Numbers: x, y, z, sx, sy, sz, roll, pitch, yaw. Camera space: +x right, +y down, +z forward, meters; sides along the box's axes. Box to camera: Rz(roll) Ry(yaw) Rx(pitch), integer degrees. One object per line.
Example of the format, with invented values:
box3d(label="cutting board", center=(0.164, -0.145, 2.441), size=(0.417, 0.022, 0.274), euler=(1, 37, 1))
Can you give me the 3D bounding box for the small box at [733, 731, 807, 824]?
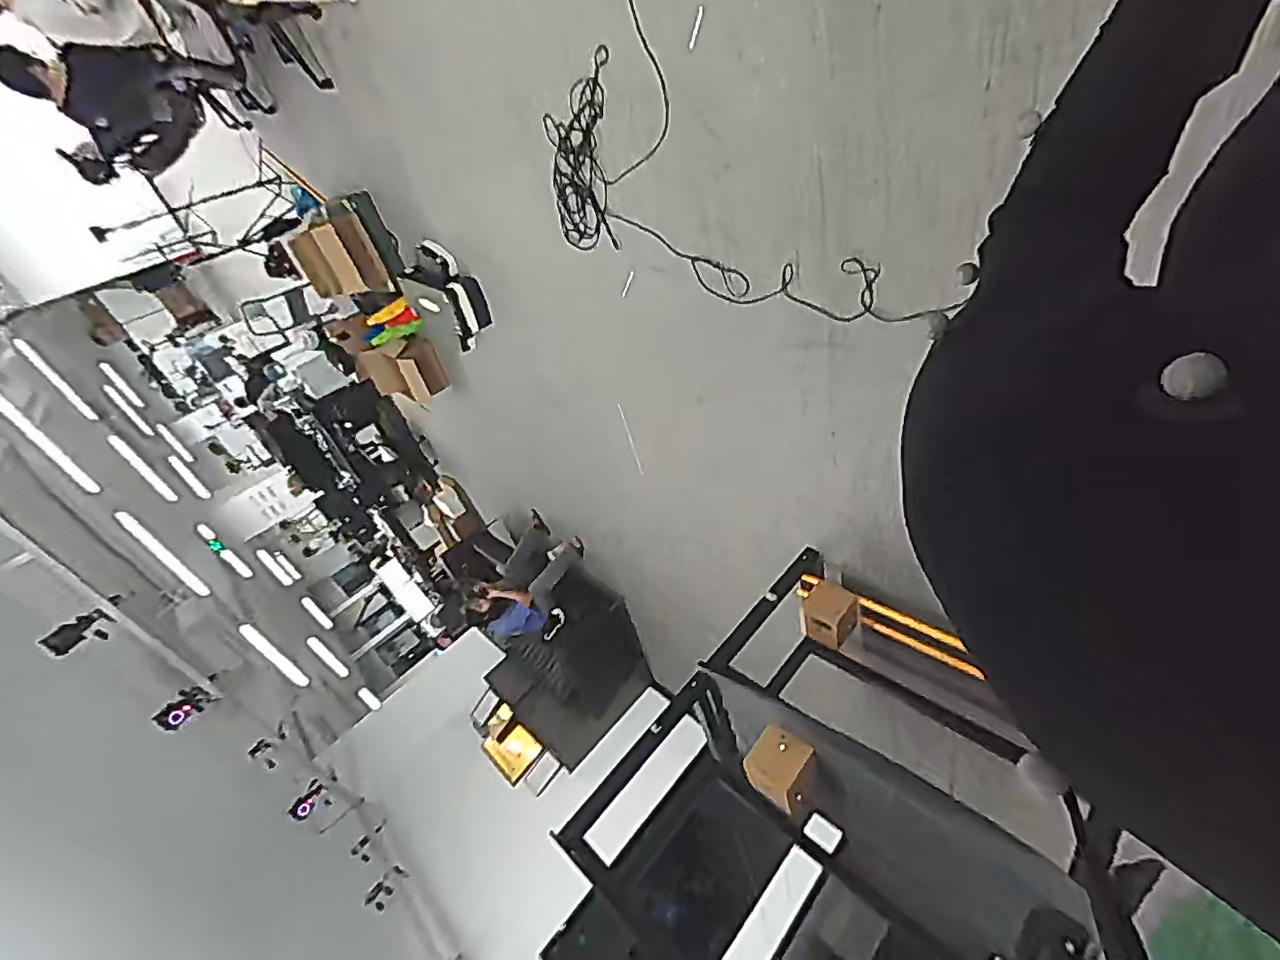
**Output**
box3d(label="small box", center=(0.434, 0.975, 1.781), size=(0.168, 0.176, 0.179), euler=(20, 139, 42))
